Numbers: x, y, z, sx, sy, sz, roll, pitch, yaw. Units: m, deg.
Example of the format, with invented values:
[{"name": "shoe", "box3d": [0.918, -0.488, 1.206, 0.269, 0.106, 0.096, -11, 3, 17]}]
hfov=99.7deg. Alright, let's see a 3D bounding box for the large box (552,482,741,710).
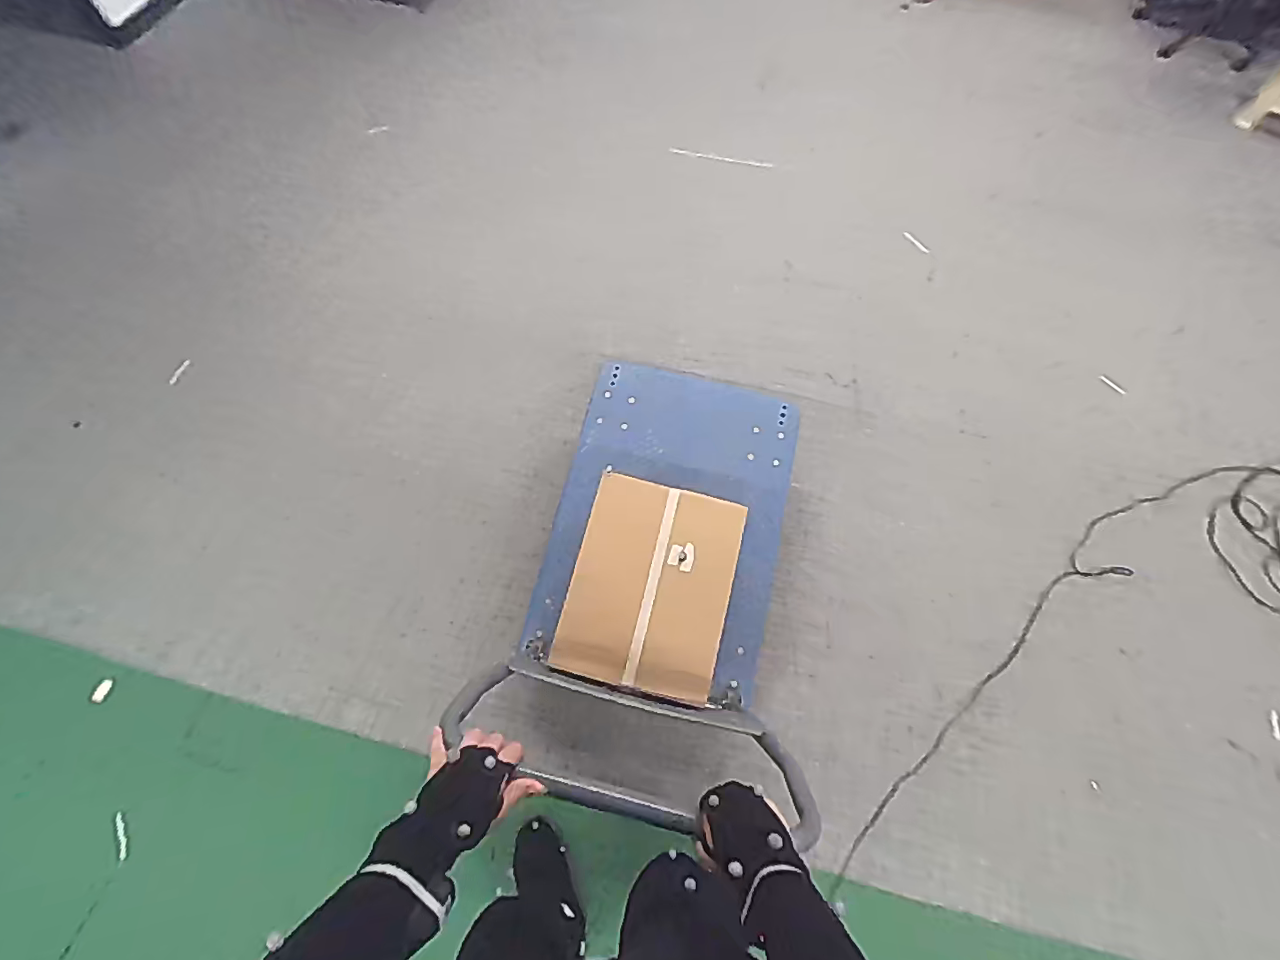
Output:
[{"name": "large box", "box3d": [0.018, 0.268, 1.232, 0.320, 0.320, 0.408, 14, 73, 2]}]
